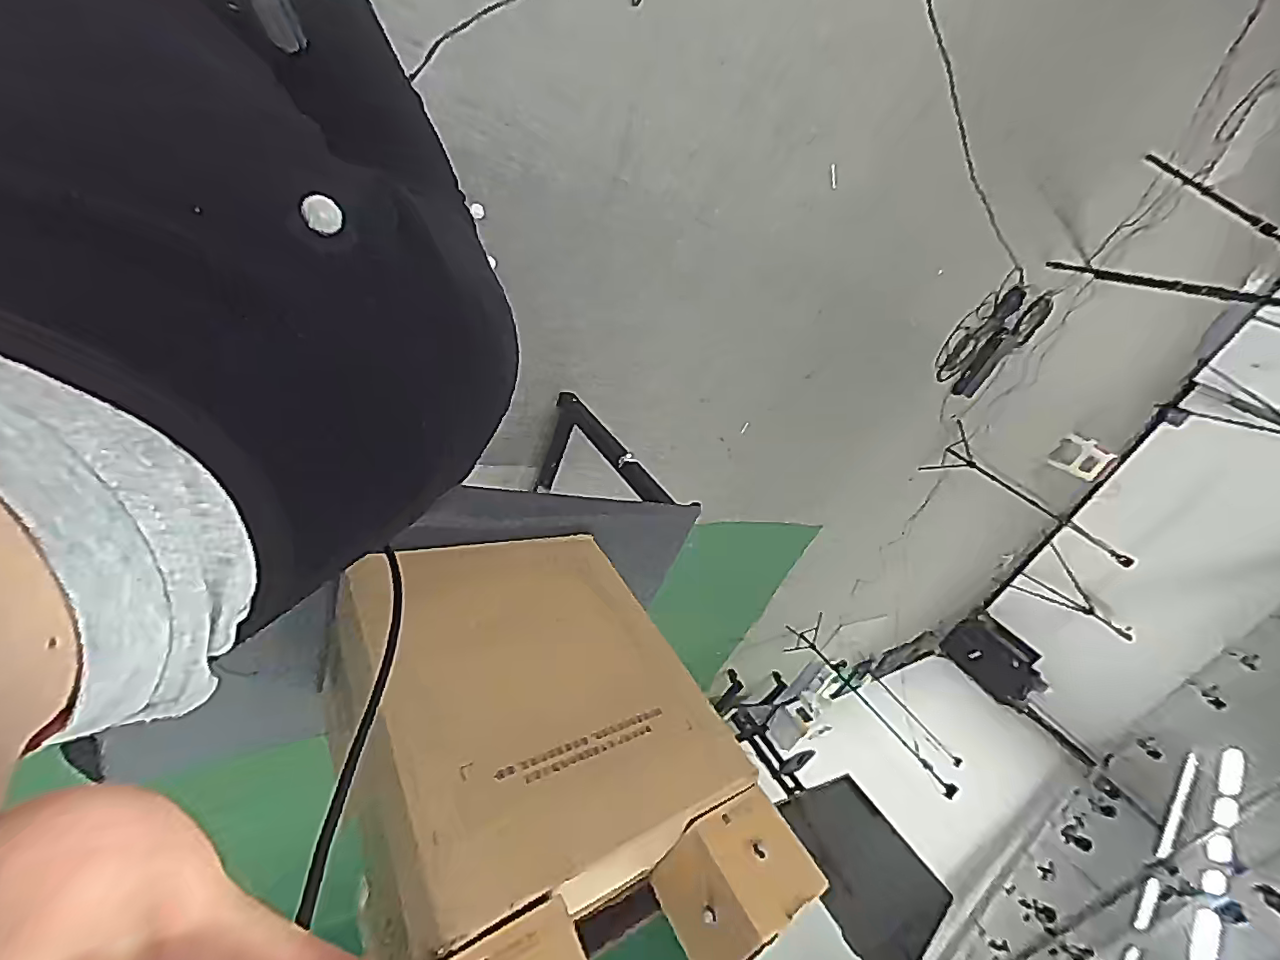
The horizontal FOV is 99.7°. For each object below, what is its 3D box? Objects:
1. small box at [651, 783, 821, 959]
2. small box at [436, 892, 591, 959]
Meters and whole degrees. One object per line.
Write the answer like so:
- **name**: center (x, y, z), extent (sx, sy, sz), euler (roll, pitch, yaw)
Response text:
- **small box**: center (0.145, 0.619, 0.864), extent (0.168, 0.176, 0.179), euler (-1, 126, -41)
- **small box**: center (-0.143, 0.613, 0.608), extent (0.168, 0.176, 0.179), euler (-7, 131, -34)
